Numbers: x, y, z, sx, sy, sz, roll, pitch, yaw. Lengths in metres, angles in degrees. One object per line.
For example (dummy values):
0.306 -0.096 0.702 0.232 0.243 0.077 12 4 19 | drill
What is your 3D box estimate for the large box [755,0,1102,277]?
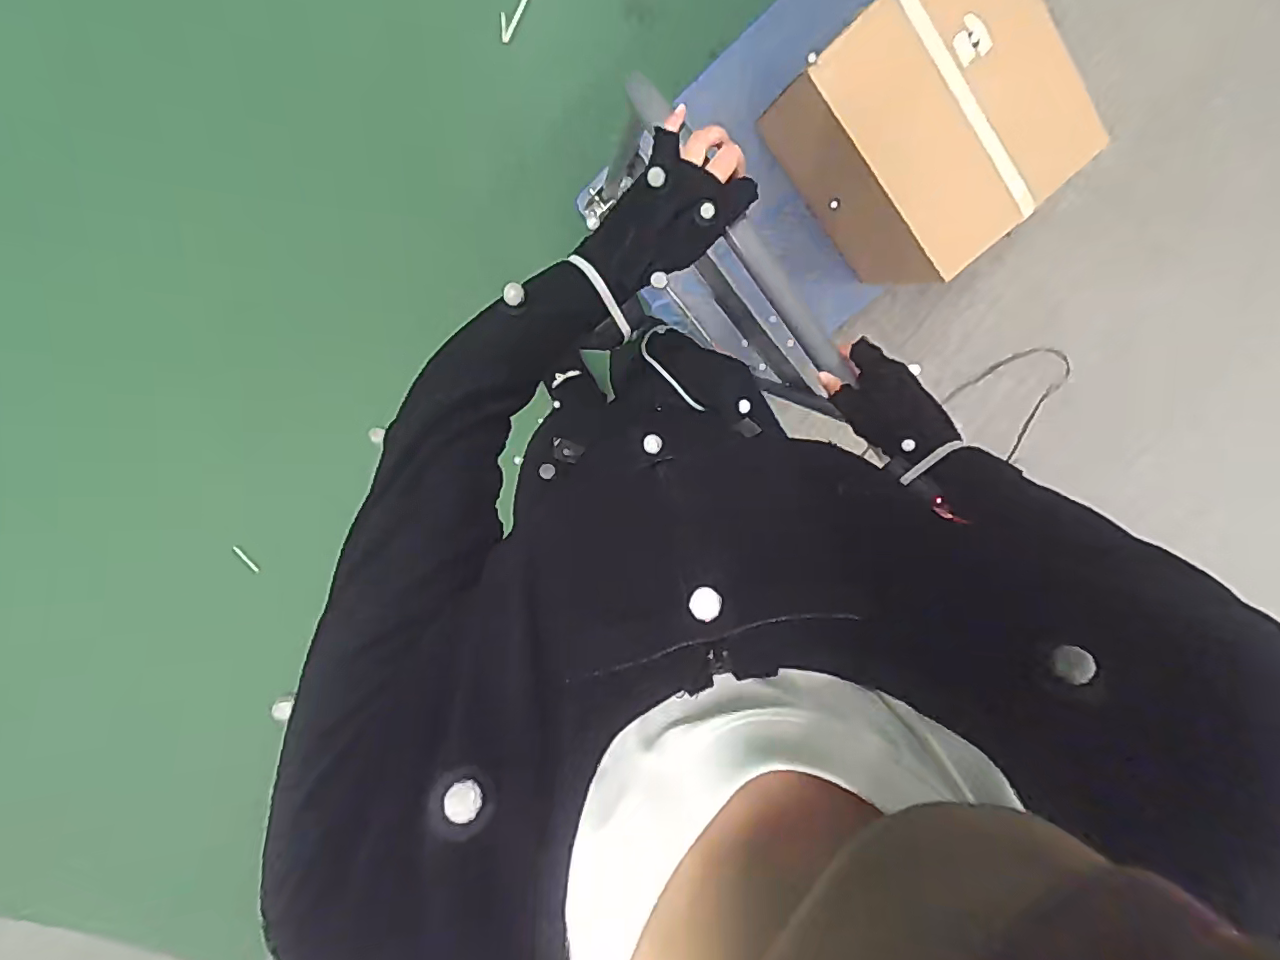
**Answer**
0.471 -0.621 0.957 0.320 0.320 0.408 -41 106 11 | large box
